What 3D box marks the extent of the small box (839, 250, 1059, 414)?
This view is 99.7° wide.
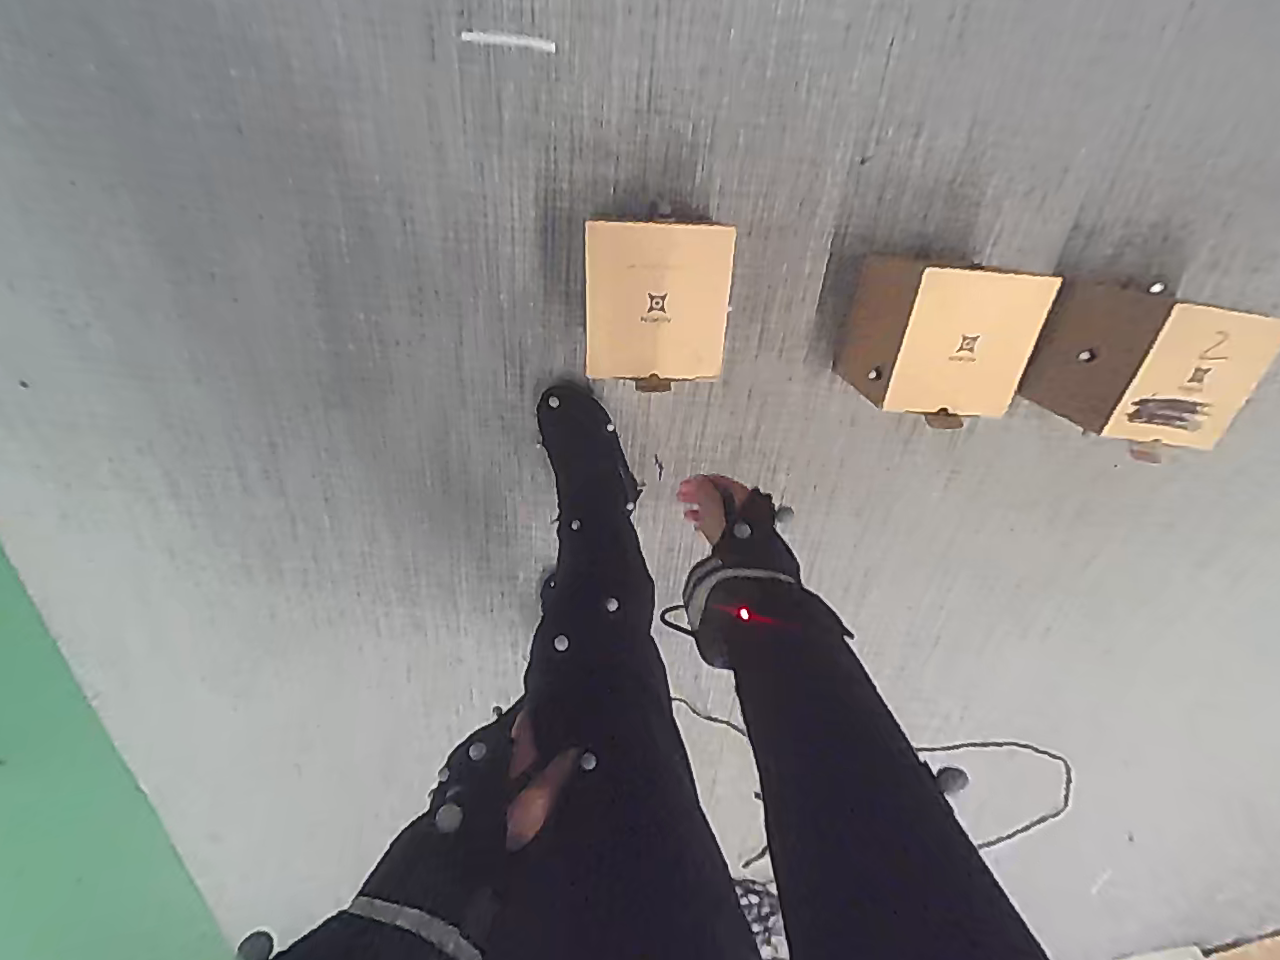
[{"bbox_3d":[0.386,-0.202,0.717,0.168,0.176,0.179,3,118,-4],"label":"small box"}]

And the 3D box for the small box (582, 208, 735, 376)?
[{"bbox_3d":[0.015,-0.242,0.683,0.168,0.176,0.179,1,117,-3],"label":"small box"}]
